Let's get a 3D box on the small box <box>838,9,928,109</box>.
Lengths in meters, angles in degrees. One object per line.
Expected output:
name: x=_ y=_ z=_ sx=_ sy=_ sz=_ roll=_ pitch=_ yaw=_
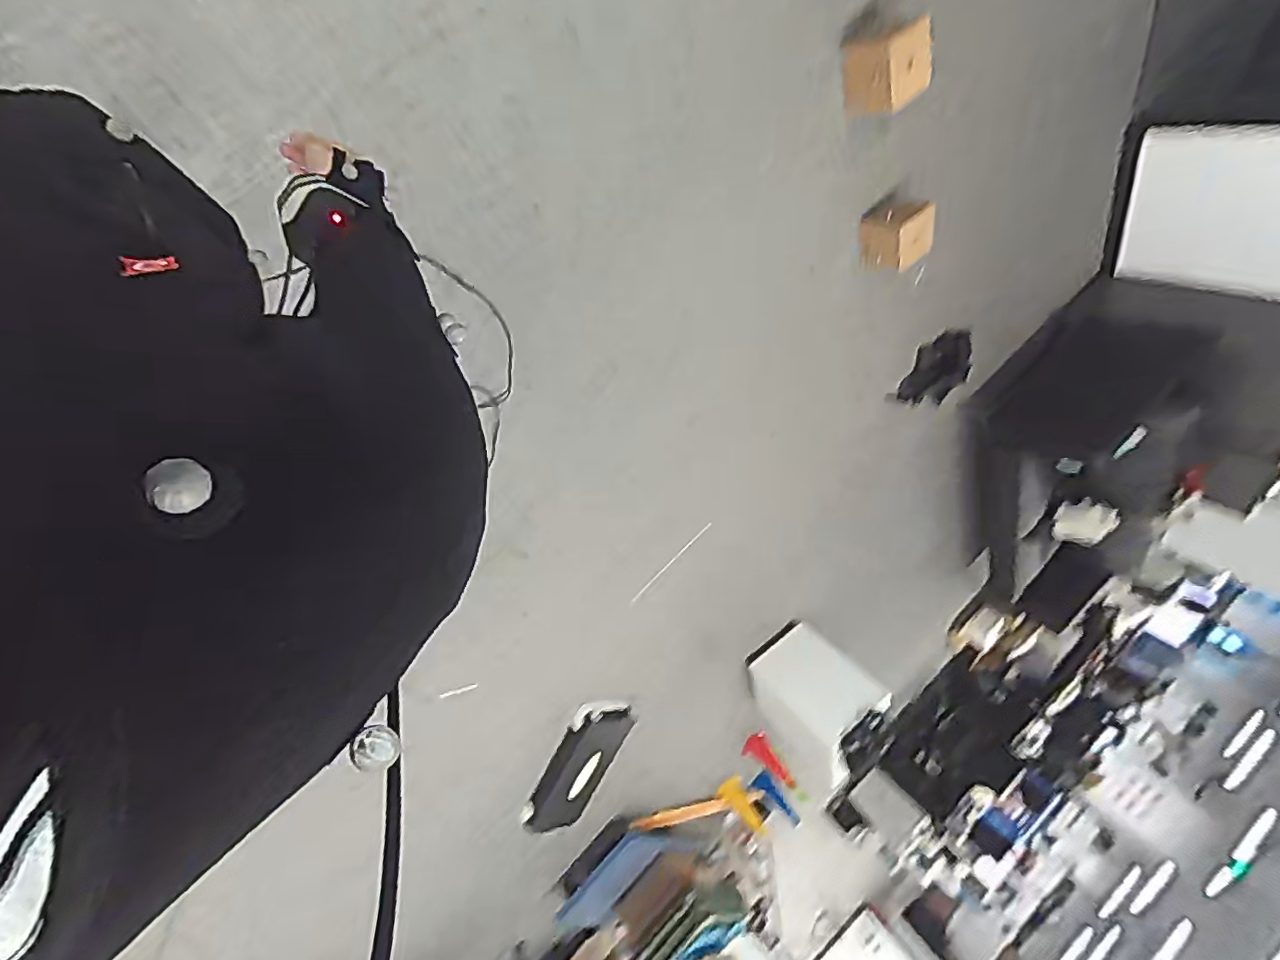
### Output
small box: x=0.700 y=-1.205 z=1.559 sx=0.168 sy=0.176 sz=0.179 roll=-41 pitch=134 yaw=-9

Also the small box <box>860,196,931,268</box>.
small box: x=0.900 y=-0.884 z=1.920 sx=0.179 sy=0.176 sz=0.168 roll=-39 pitch=135 yaw=-12
